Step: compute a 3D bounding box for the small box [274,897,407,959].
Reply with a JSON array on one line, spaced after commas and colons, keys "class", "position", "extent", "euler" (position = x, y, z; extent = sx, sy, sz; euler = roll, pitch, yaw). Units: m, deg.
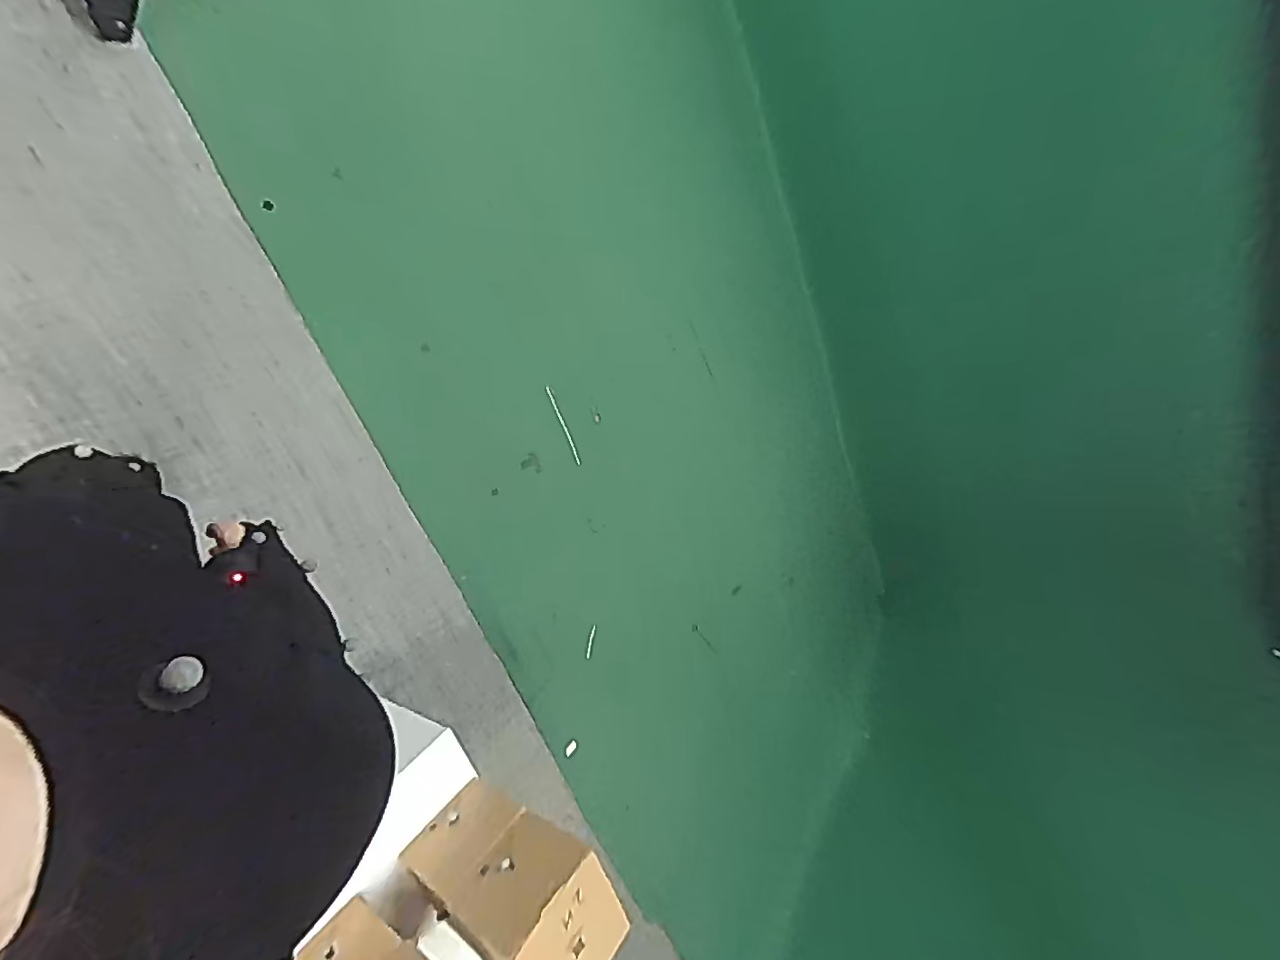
[{"class": "small box", "position": [-0.426, 0.757, 0.776], "extent": [0.168, 0.176, 0.179], "euler": [-36, 113, -45]}]

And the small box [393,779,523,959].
[{"class": "small box", "position": [-0.289, 0.662, 0.937], "extent": [0.168, 0.176, 0.179], "euler": [-37, 113, -43]}]

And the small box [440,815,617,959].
[{"class": "small box", "position": [-0.169, 0.660, 0.825], "extent": [0.168, 0.176, 0.179], "euler": [-35, 113, -43]}]
